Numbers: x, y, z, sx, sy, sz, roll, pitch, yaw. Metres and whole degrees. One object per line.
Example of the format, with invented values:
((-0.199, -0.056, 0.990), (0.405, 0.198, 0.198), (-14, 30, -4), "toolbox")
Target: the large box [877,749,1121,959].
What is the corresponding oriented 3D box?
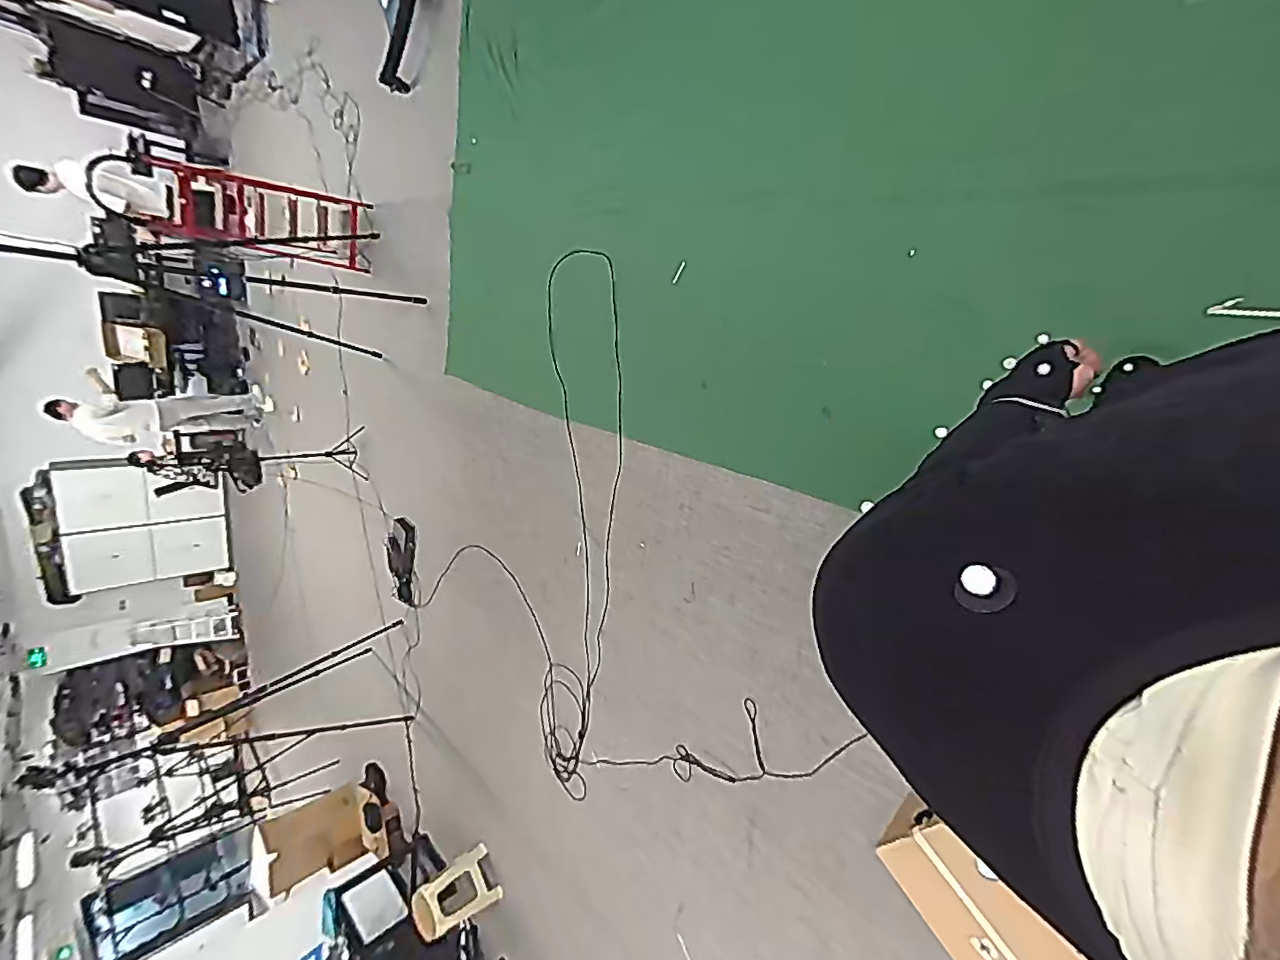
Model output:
((0.913, 1.001, 1.392), (0.408, 0.320, 0.320), (53, 128, 24), "large box")
